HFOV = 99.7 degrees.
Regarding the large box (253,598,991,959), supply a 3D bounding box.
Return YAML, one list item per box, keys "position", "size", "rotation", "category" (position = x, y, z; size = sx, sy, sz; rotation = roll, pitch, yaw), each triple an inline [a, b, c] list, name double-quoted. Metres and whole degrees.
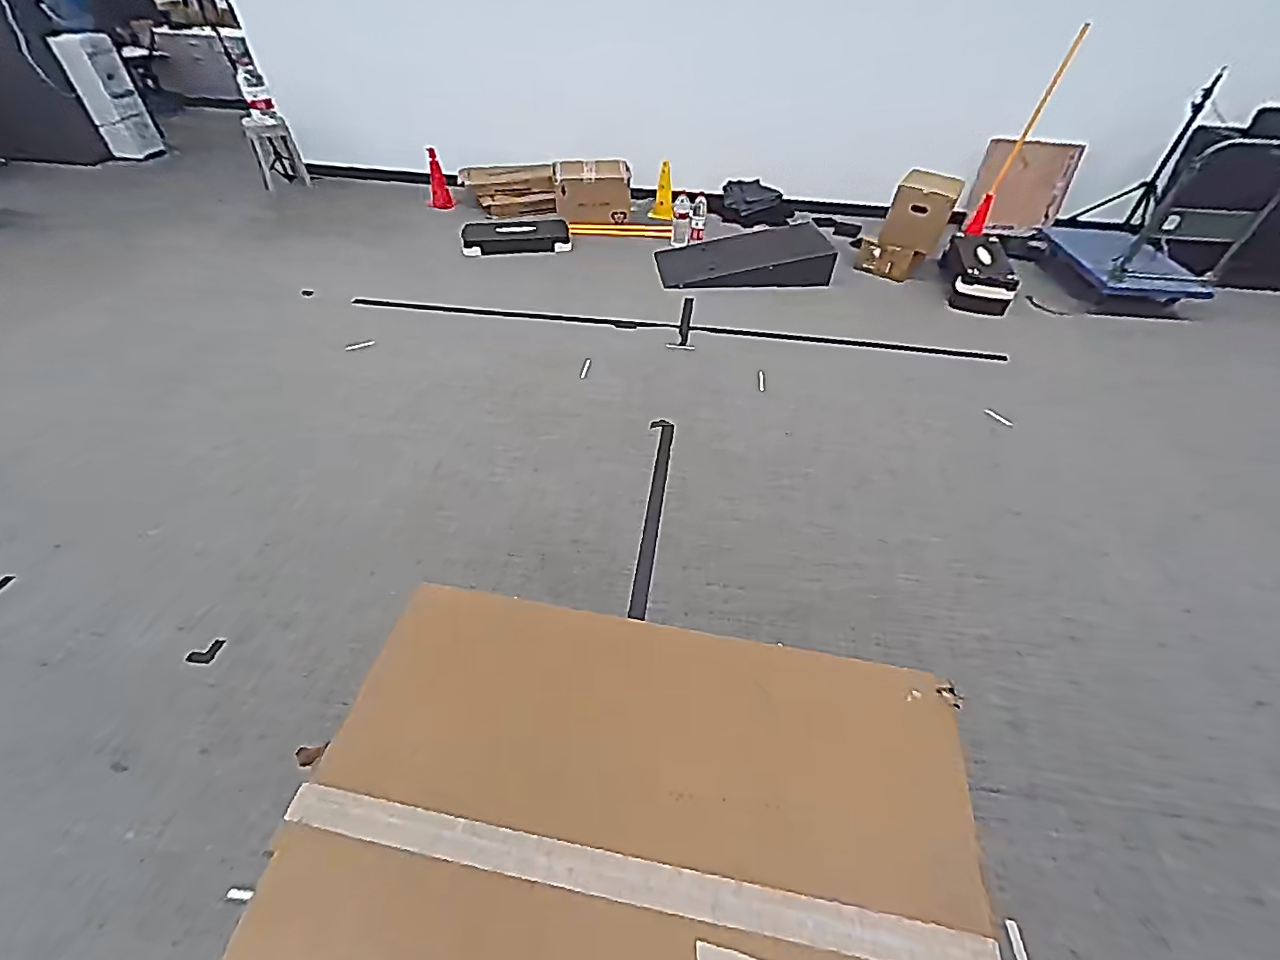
- position: [-0.005, 0.330, 0.431]
  size: [0.408, 0.320, 0.320]
  rotation: [8, 51, 6]
  category: "large box"
